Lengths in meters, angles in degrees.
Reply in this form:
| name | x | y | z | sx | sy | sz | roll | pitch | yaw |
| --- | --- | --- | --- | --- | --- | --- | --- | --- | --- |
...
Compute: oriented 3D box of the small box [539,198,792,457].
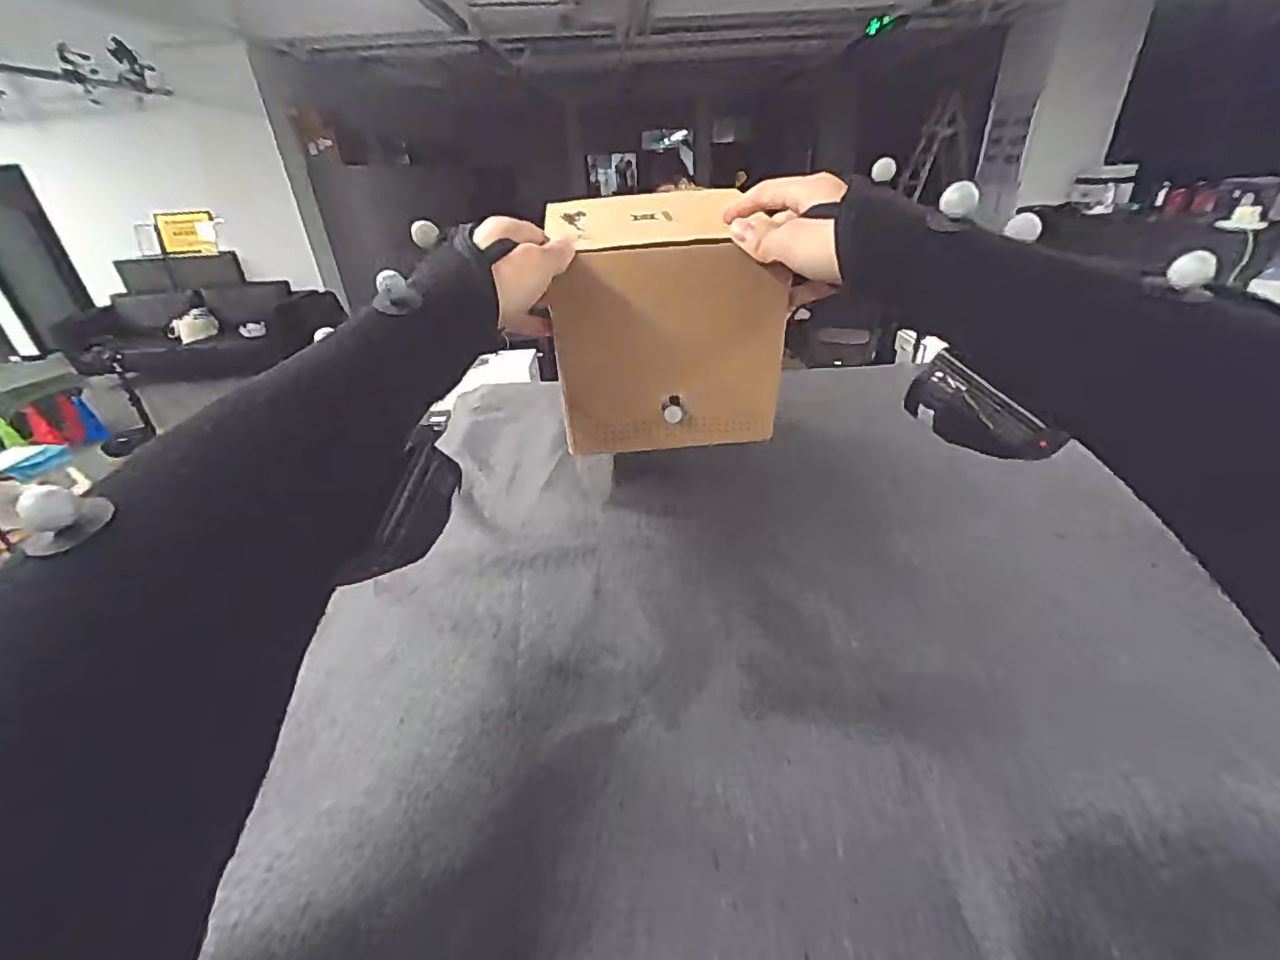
| name | x | y | z | sx | sy | sz | roll | pitch | yaw |
| --- | --- | --- | --- | --- | --- | --- | --- | --- | --- |
| small box | 0.012 | -0.136 | 0.475 | 0.179 | 0.176 | 0.168 | -5 | 38 | -4 |
